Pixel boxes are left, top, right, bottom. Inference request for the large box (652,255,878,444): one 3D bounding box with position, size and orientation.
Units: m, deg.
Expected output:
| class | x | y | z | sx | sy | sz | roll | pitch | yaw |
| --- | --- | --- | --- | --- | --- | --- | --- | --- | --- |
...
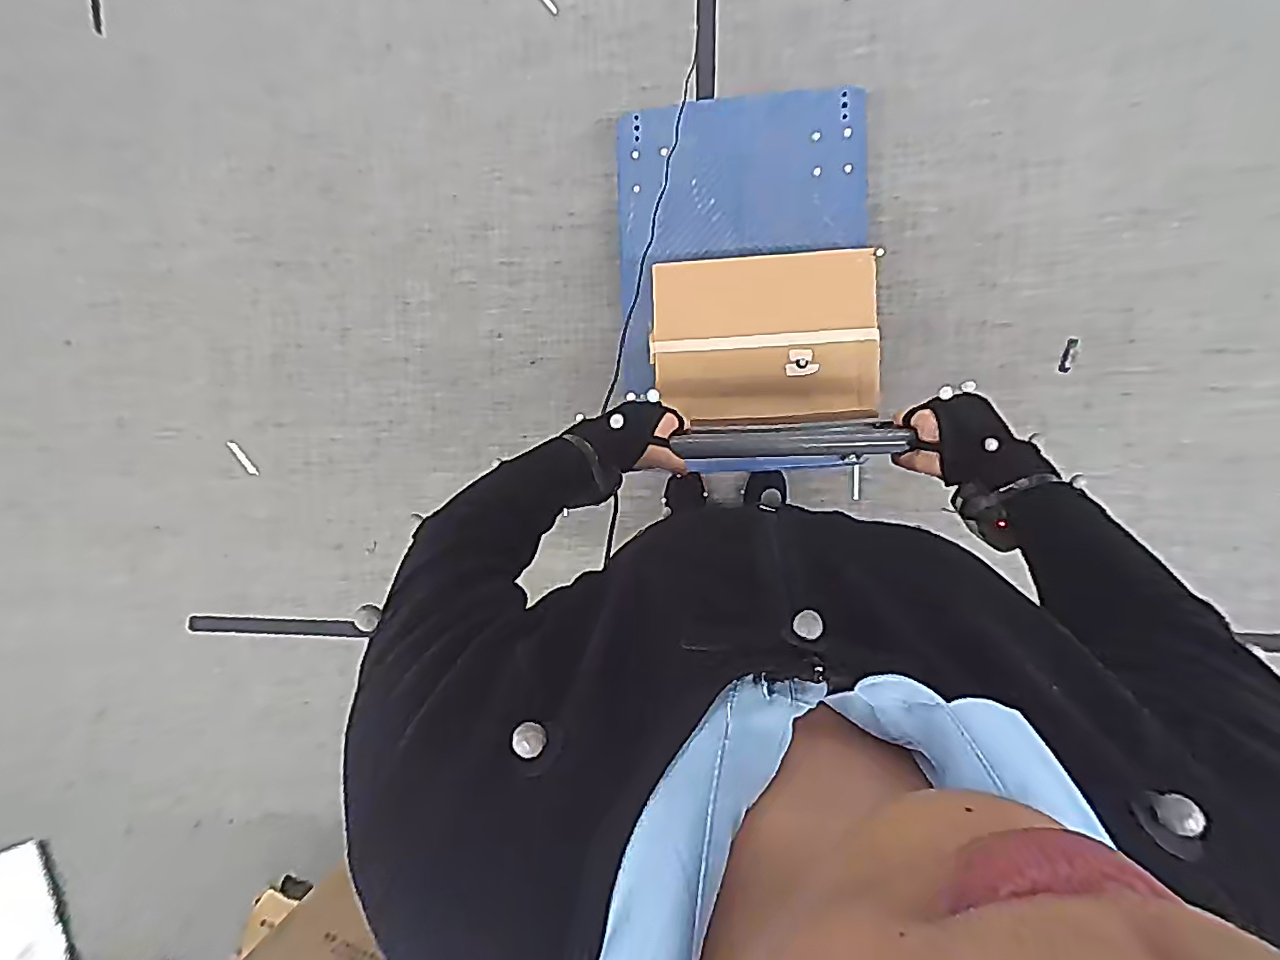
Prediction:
| class | x | y | z | sx | sy | sz | roll | pitch | yaw |
| --- | --- | --- | --- | --- | --- | --- | --- | --- | --- |
| large box | 0.240 | -0.245 | 1.140 | 0.408 | 0.320 | 0.320 | -2 | 92 | 6 |
